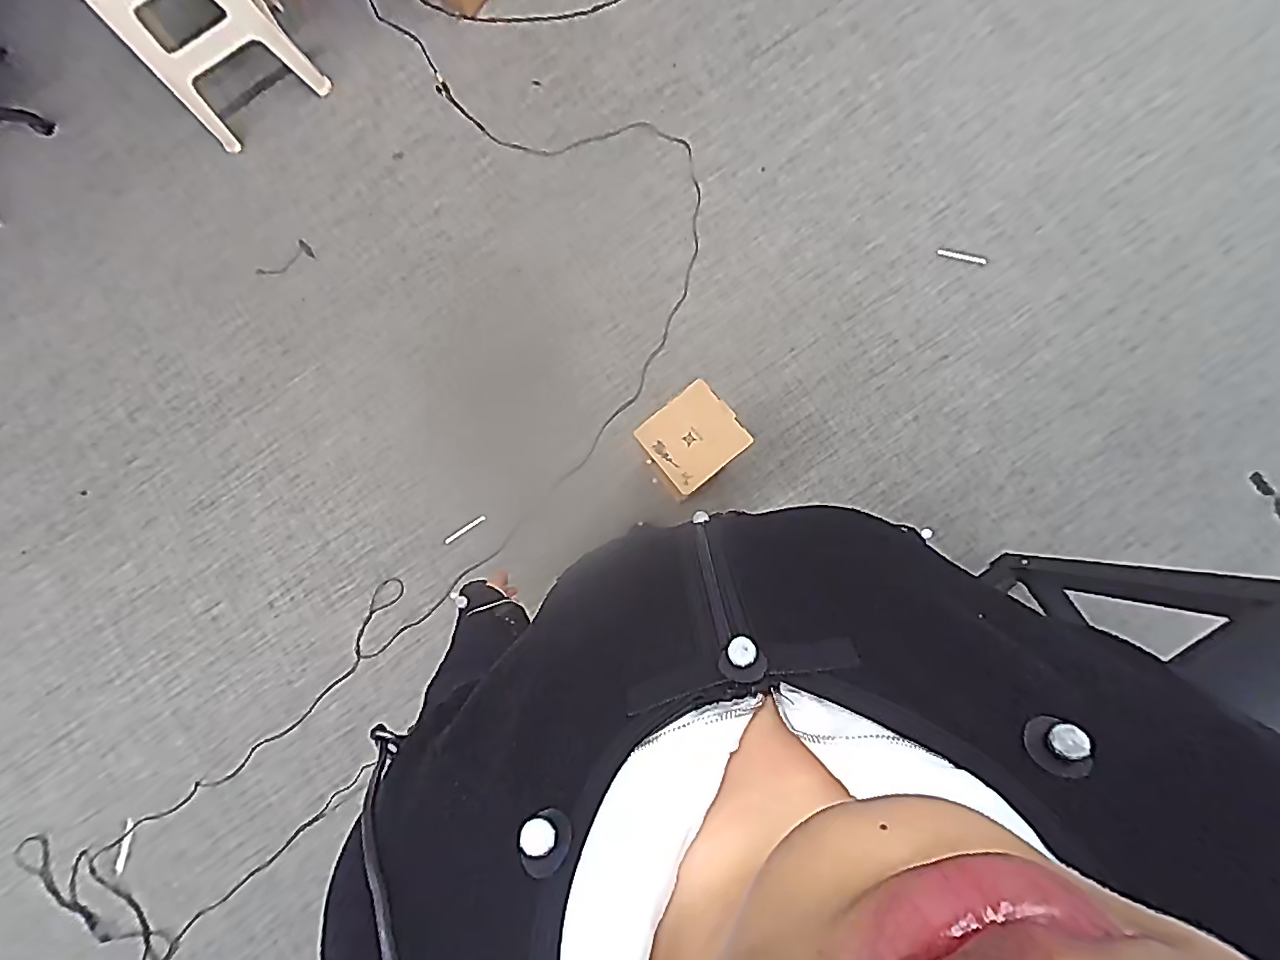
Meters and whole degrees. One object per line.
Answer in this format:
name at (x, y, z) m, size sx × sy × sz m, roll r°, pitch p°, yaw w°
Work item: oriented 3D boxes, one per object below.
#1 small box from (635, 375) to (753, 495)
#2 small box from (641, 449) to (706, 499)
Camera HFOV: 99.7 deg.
small box at (0.106, -0.085, 1.127) m, size 0.179 × 0.176 × 0.168 m, roll -39°, pitch 84°, yaw -1°
small box at (0.119, -0.064, 1.452) m, size 0.179 × 0.176 × 0.168 m, roll -38°, pitch 84°, yaw 0°
